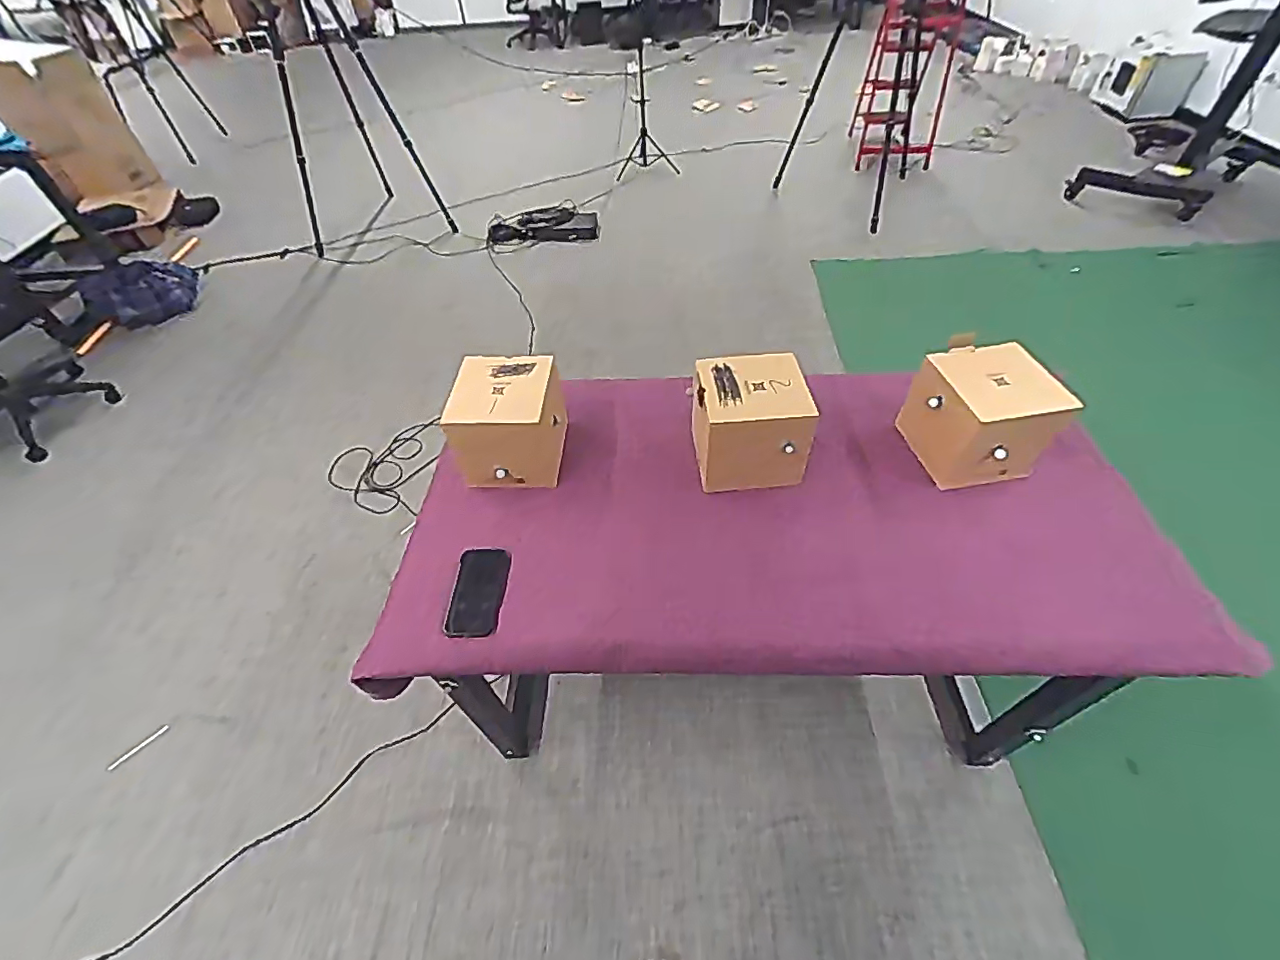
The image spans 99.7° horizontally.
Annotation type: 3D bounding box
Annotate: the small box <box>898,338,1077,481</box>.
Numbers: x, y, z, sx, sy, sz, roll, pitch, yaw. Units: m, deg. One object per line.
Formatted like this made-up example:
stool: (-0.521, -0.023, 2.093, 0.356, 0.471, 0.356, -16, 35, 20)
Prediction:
small box: (0.578, -0.114, 0.928, 0.168, 0.176, 0.179, -9, 49, -3)

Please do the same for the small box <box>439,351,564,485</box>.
small box: (-0.235, -0.111, 0.973, 0.168, 0.176, 0.179, 0, 51, 4)
